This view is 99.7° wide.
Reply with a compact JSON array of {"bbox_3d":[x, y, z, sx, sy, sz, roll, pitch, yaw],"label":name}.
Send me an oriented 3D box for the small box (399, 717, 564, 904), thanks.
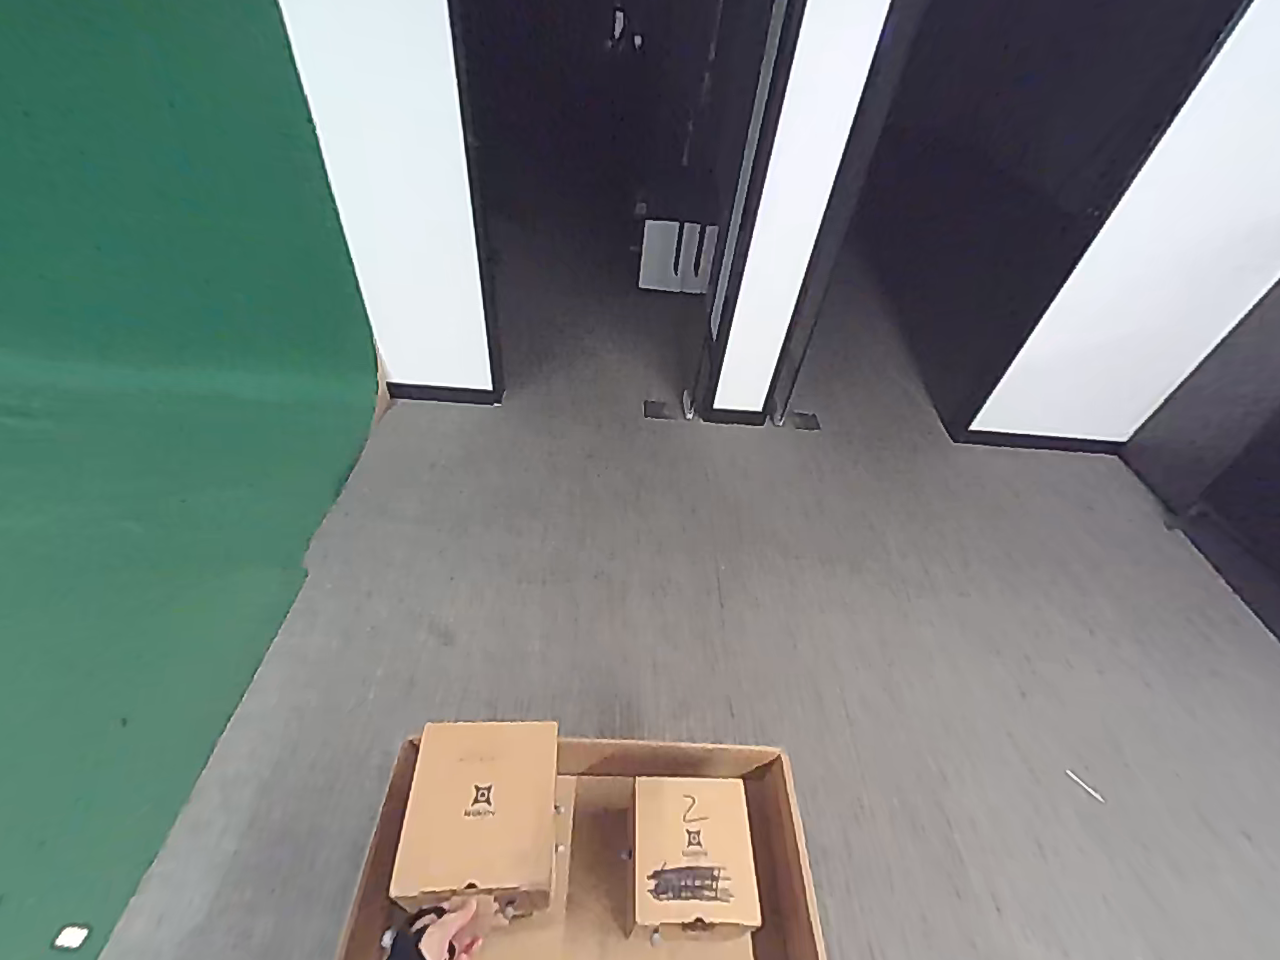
[{"bbox_3d":[-0.183,0.419,0.683,0.168,0.176,0.179,2,45,-7],"label":"small box"}]
